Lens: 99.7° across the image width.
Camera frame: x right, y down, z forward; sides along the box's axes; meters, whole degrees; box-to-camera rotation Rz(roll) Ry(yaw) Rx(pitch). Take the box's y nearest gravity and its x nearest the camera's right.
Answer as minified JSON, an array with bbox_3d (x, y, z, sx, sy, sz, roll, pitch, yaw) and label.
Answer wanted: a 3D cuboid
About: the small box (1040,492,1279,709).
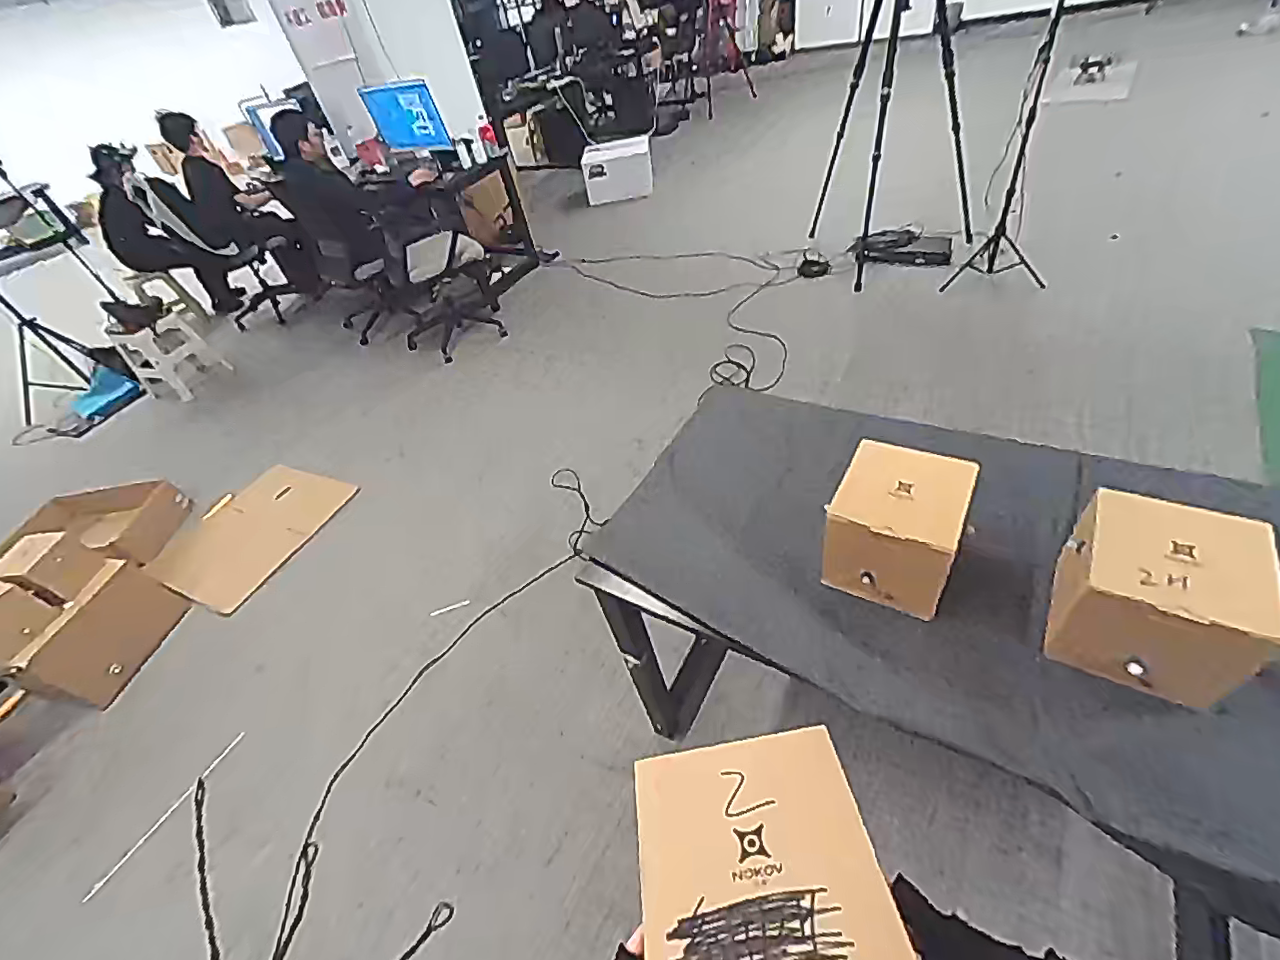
[{"bbox_3d":[0.640,0.151,0.688,0.168,0.176,0.179,18,52,29],"label":"small box"}]

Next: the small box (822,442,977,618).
[{"bbox_3d":[0.388,0.075,0.828,0.168,0.176,0.179,18,52,28],"label":"small box"}]
